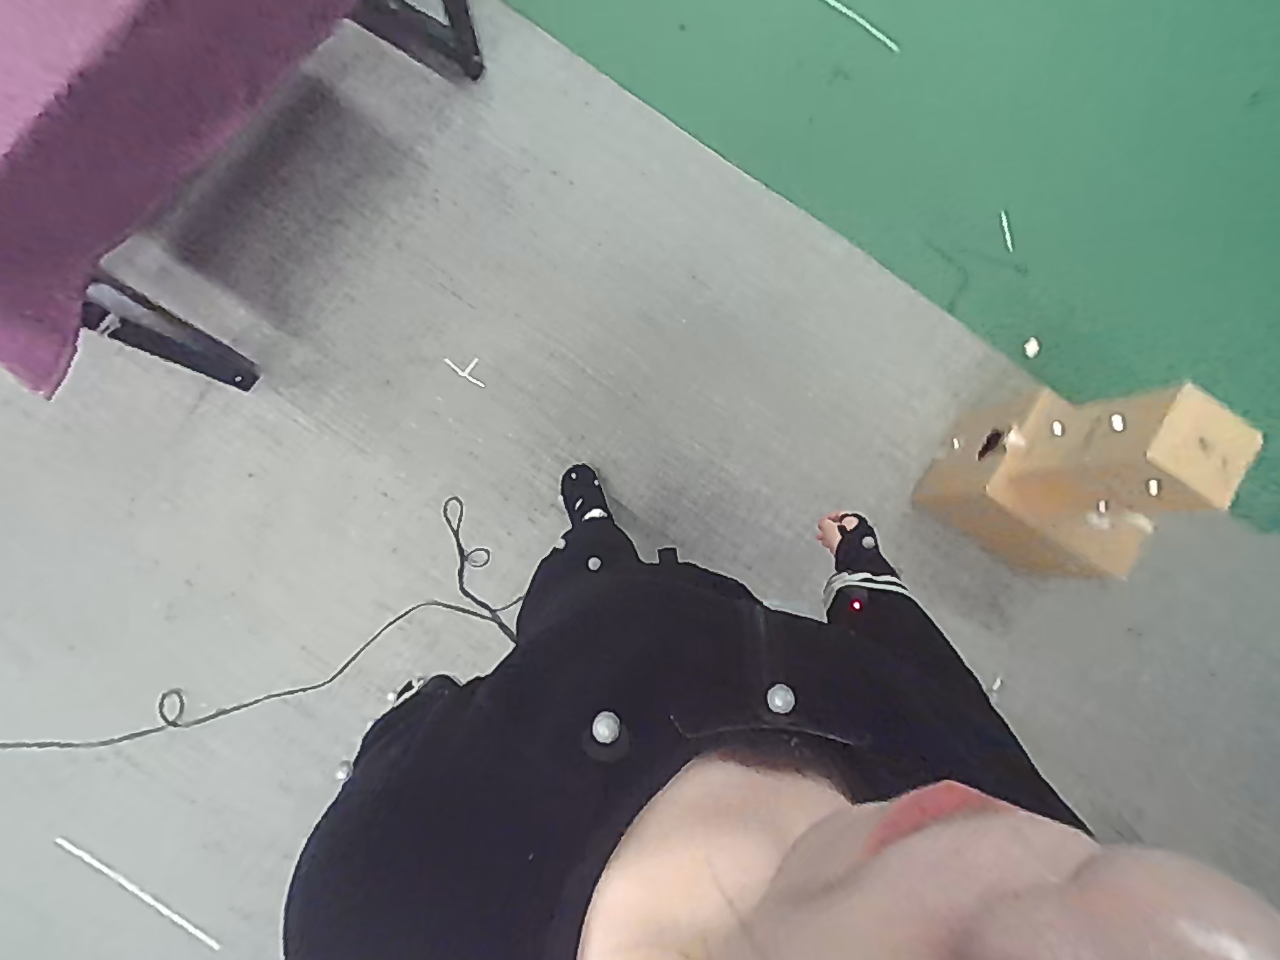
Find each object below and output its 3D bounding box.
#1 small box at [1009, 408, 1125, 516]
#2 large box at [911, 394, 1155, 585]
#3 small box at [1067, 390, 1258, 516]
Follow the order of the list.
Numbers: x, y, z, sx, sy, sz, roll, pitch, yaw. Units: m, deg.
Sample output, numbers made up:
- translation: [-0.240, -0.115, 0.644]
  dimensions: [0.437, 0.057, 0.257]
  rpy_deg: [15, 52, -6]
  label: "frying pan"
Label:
- translation: [0.978, -0.030, 1.202]
  dimensions: [0.179, 0.176, 0.168]
  rpy_deg: [36, 83, -1]
  label: "small box"
- translation: [1.037, 0.034, 1.446]
  dimensions: [0.408, 0.320, 0.320]
  rpy_deg: [34, 83, -1]
  label: "large box"
- translation: [0.985, -0.041, 1.037]
  dimensions: [0.179, 0.176, 0.168]
  rpy_deg: [36, 83, -1]
  label: "small box"
